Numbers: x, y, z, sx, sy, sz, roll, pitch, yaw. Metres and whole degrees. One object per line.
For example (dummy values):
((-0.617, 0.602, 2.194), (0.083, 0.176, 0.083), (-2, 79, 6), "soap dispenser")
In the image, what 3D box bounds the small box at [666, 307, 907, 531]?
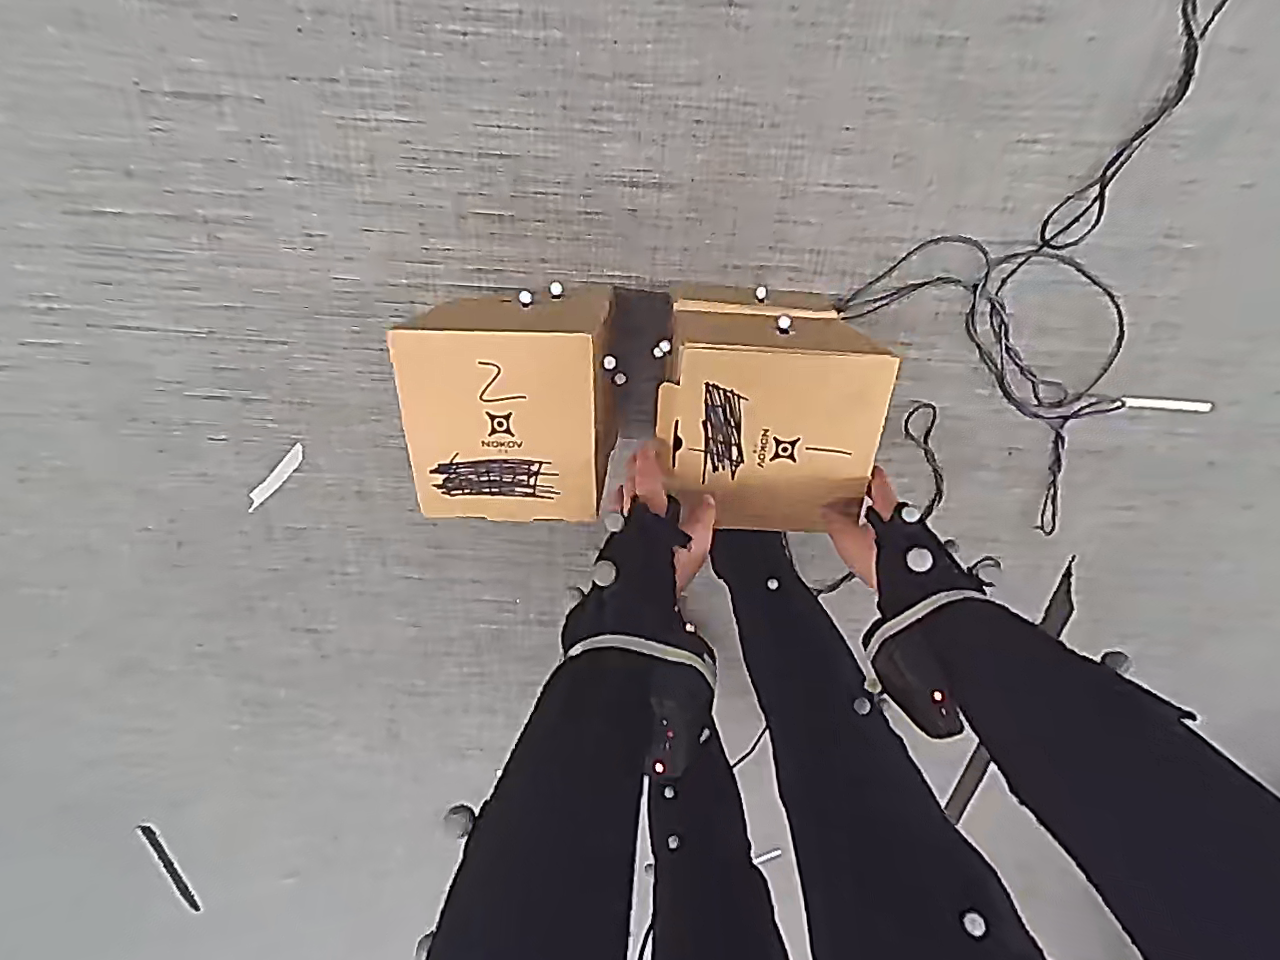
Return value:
((0.117, -0.068, 0.522), (0.179, 0.176, 0.168), (3, 117, 0), "small box")

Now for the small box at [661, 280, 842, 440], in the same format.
((0.120, -0.147, 0.665), (0.179, 0.176, 0.168), (5, 116, 0), "small box")

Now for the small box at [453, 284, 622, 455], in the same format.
((-0.113, -0.146, 0.678), (0.168, 0.176, 0.179), (-3, 117, 3), "small box")
